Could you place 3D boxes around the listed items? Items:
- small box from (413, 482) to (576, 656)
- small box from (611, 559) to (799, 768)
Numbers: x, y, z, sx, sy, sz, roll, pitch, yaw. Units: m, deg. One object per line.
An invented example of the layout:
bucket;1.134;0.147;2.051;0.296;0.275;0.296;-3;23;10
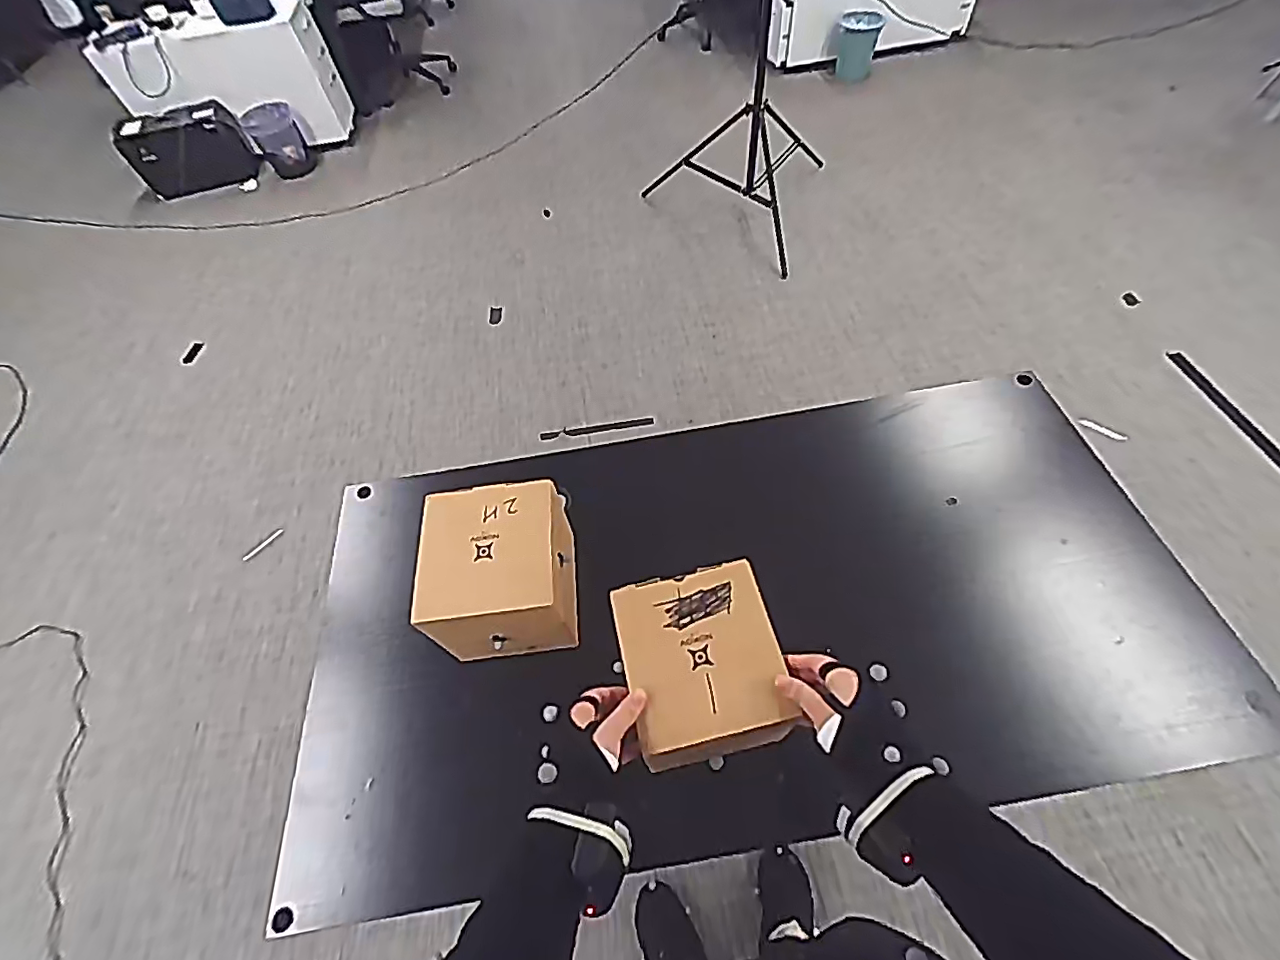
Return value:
small box;-0.183;0.128;0.731;0.168;0.176;0.179;-8;56;0
small box;0.068;0.222;0.642;0.168;0.176;0.179;-14;57;-2
